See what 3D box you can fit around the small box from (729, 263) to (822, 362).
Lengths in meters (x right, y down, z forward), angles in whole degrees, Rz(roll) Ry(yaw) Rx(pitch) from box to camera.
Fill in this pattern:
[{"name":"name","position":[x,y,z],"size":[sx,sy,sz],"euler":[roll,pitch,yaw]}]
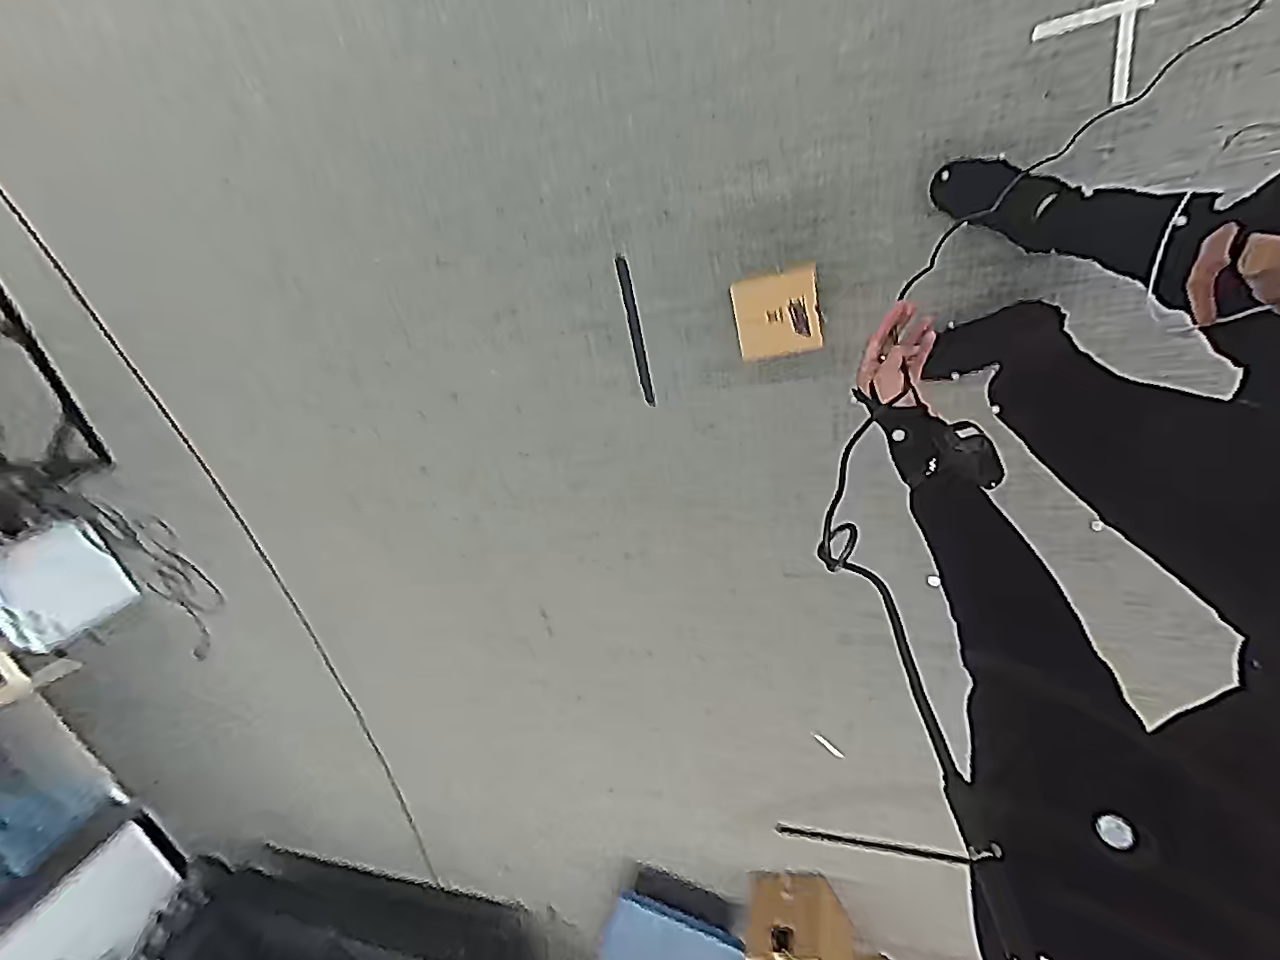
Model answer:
[{"name":"small box","position":[0.309,-0.381,1.219],"size":[0.179,0.176,0.168],"euler":[-6,114,22]}]
